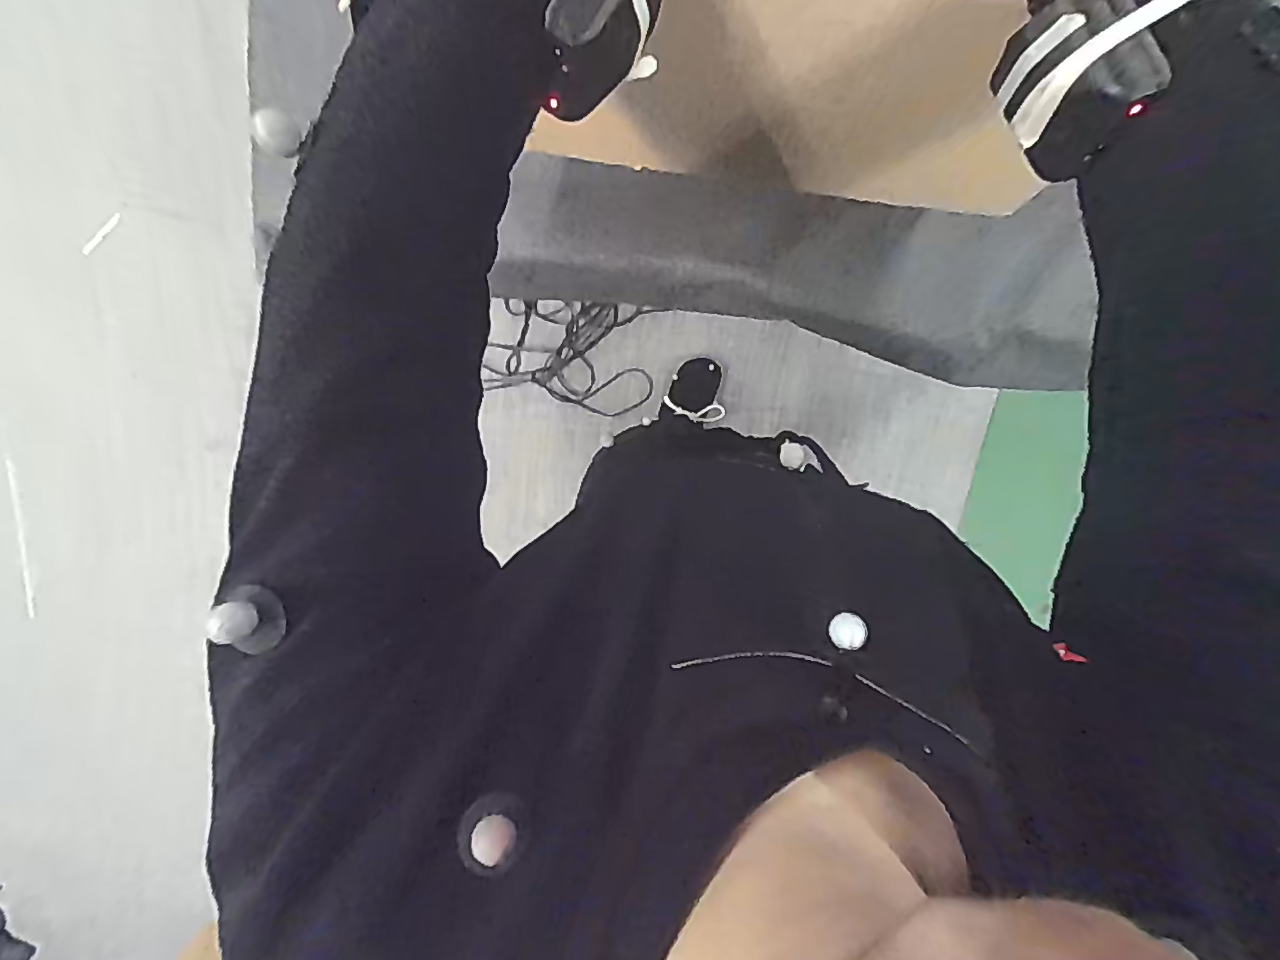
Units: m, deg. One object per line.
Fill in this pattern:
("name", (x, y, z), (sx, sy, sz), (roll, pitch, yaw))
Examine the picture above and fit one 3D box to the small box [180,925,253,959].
("small box", (-1.374, 1.577, 1.721), (0.168, 0.176, 0.179), (15, 104, 1))
